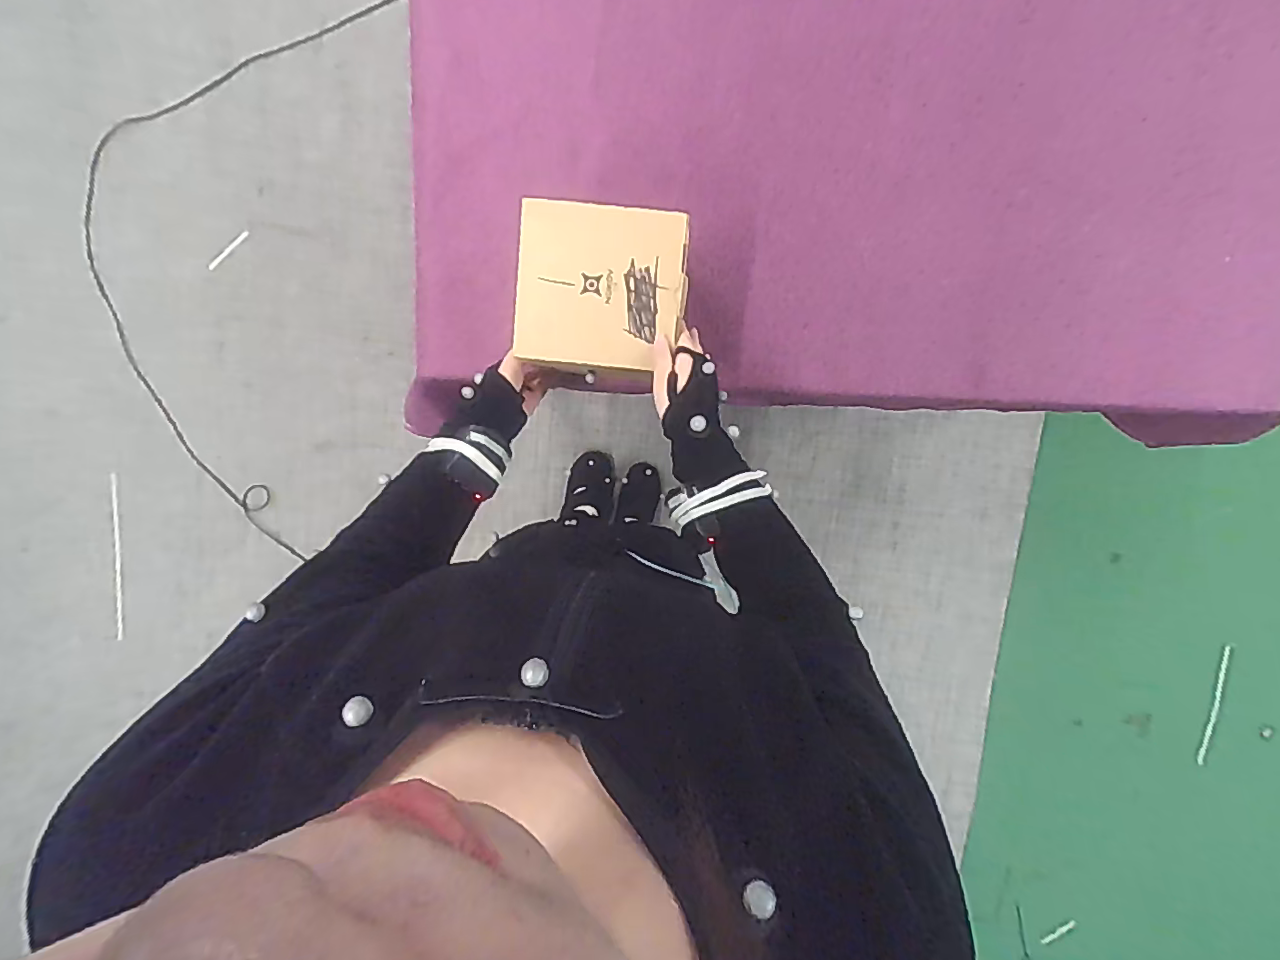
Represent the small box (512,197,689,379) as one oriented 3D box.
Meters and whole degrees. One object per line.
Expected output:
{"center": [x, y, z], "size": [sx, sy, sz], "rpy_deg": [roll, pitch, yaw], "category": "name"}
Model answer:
{"center": [-0.043, -0.214, 0.650], "size": [0.179, 0.176, 0.168], "rpy_deg": [6, 97, 0], "category": "small box"}
